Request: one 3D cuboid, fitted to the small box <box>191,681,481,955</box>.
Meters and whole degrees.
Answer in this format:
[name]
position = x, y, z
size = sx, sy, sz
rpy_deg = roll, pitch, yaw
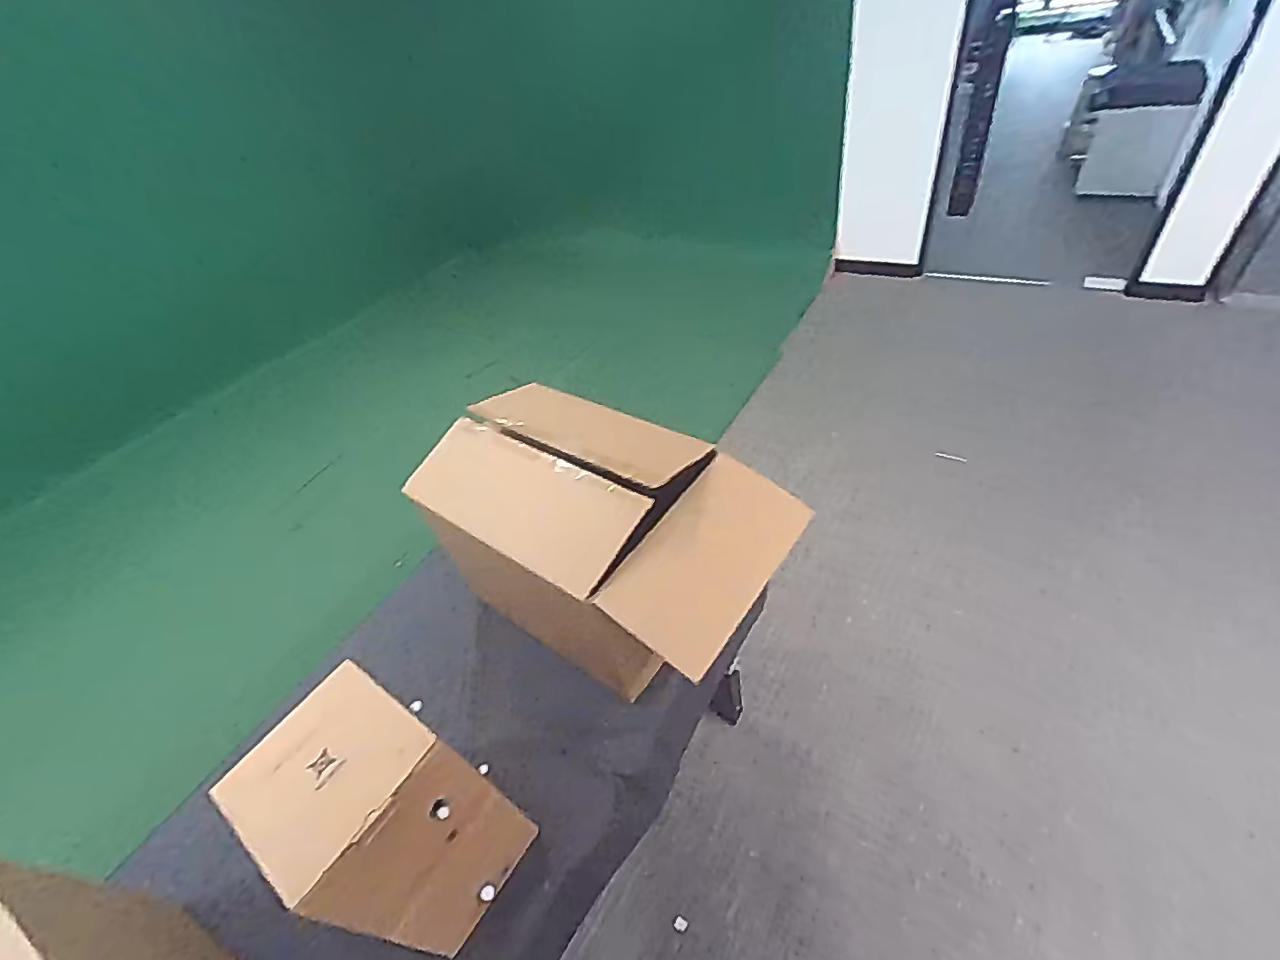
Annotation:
[small box]
position = -0.302, 0.354, 0.571
size = 0.179, 0.176, 0.168
rpy_deg = 20, 52, 30
